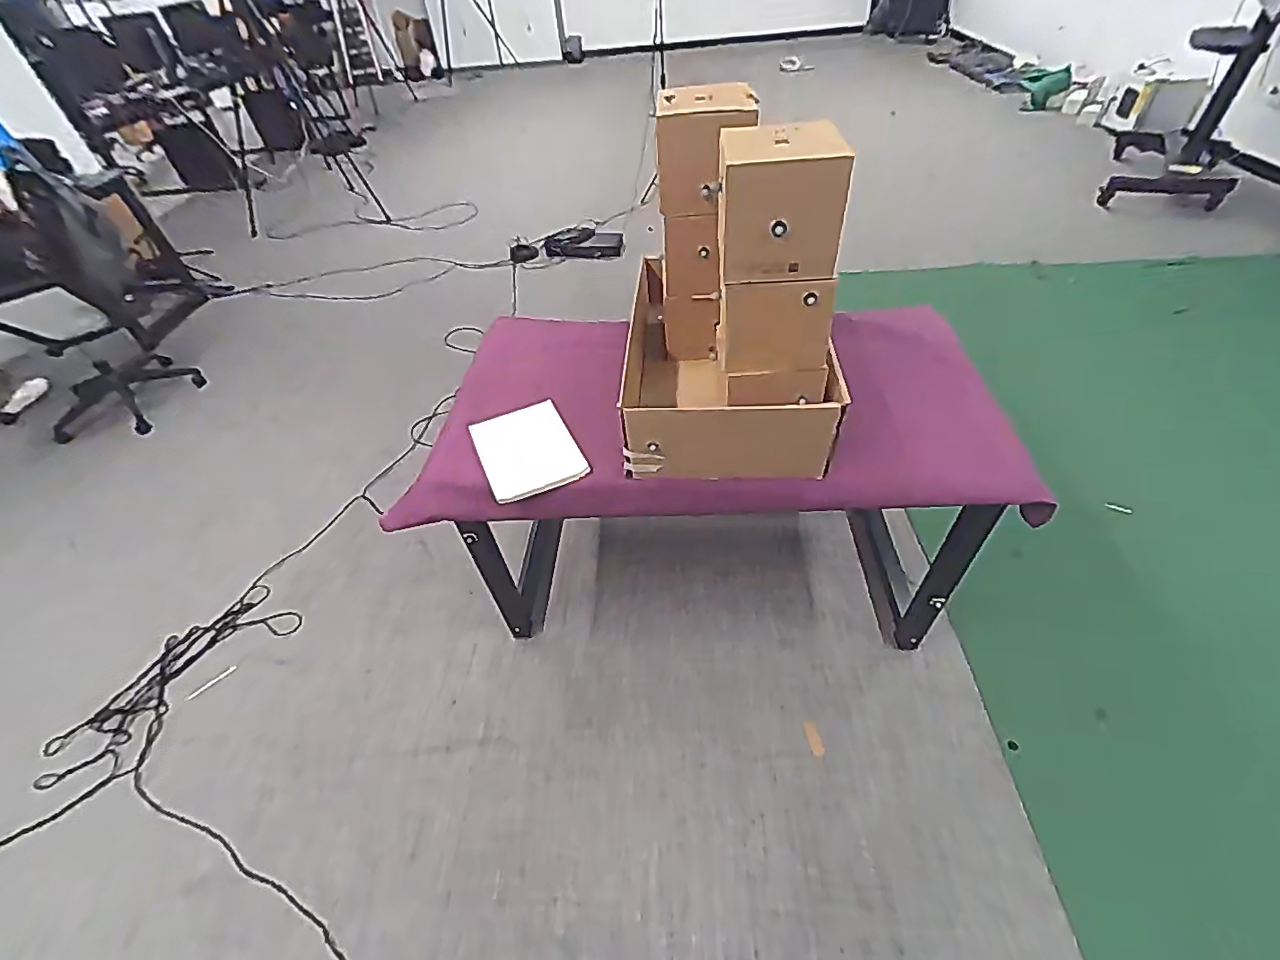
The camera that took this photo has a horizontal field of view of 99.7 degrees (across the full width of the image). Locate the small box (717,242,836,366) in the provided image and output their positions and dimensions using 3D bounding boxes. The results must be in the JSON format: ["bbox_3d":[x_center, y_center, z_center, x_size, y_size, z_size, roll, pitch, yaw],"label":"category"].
[{"bbox_3d":[0.222,-0.309,0.931,0.179,0.176,0.168,0,46,6],"label":"small box"}]

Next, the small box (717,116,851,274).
[{"bbox_3d":[0.203,-0.423,0.814,0.168,0.176,0.179,0,45,5],"label":"small box"}]

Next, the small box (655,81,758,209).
[{"bbox_3d":[0.119,-0.628,1.018,0.179,0.176,0.168,0,48,4],"label":"small box"}]

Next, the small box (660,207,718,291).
[{"bbox_3d":[0.132,-0.515,1.137,0.179,0.176,0.168,-2,48,3],"label":"small box"}]
